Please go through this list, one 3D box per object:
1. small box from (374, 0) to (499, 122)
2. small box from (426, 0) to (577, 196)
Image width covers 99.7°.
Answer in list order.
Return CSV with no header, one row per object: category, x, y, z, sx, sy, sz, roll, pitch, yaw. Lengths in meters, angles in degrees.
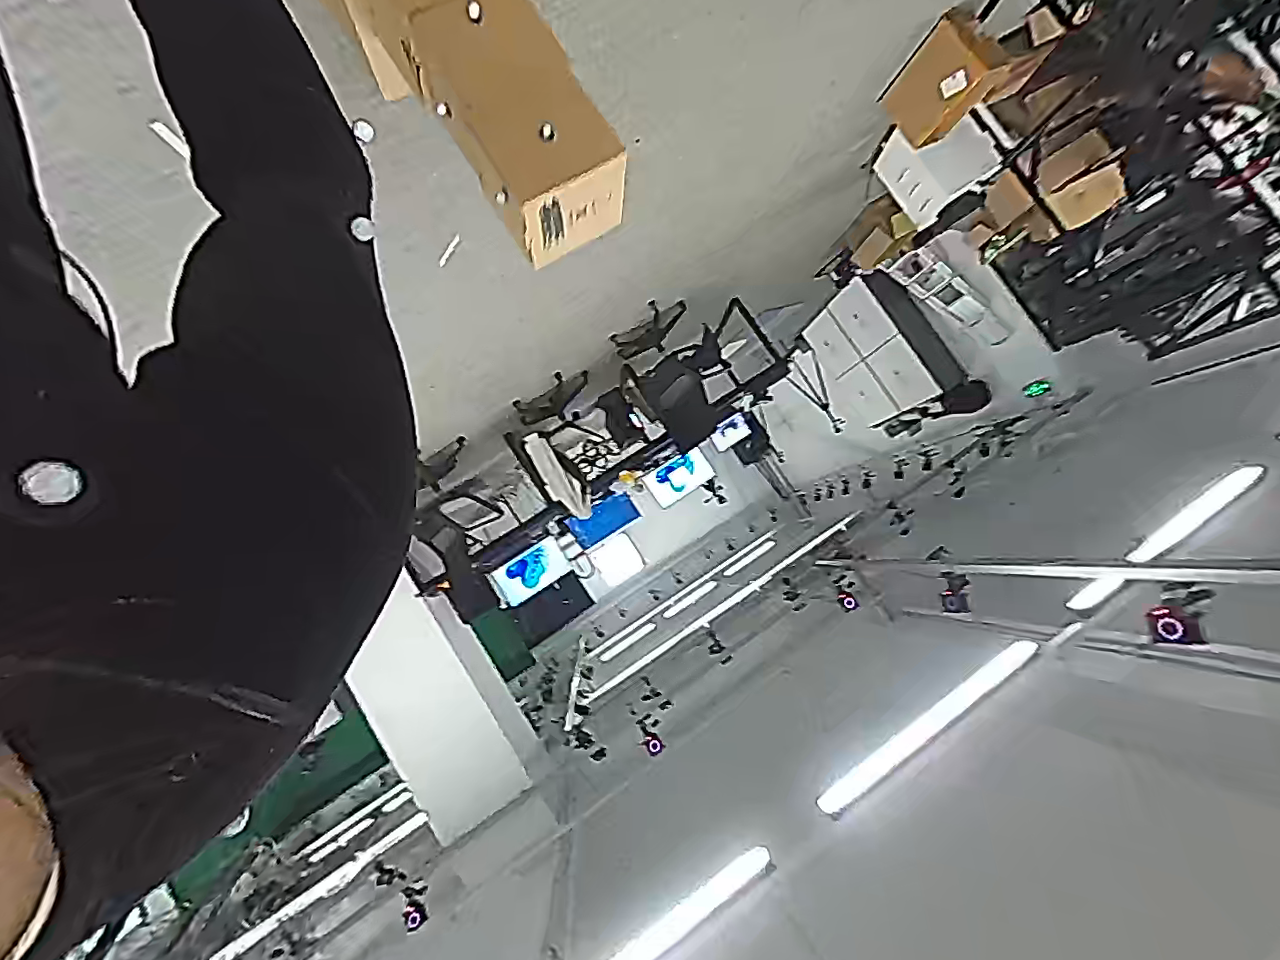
small box,-0.314,-0.736,0.871,0.179,0.176,0.168,-33,175,-14
small box,-0.216,-0.604,0.859,0.179,0.176,0.168,-31,176,-11
